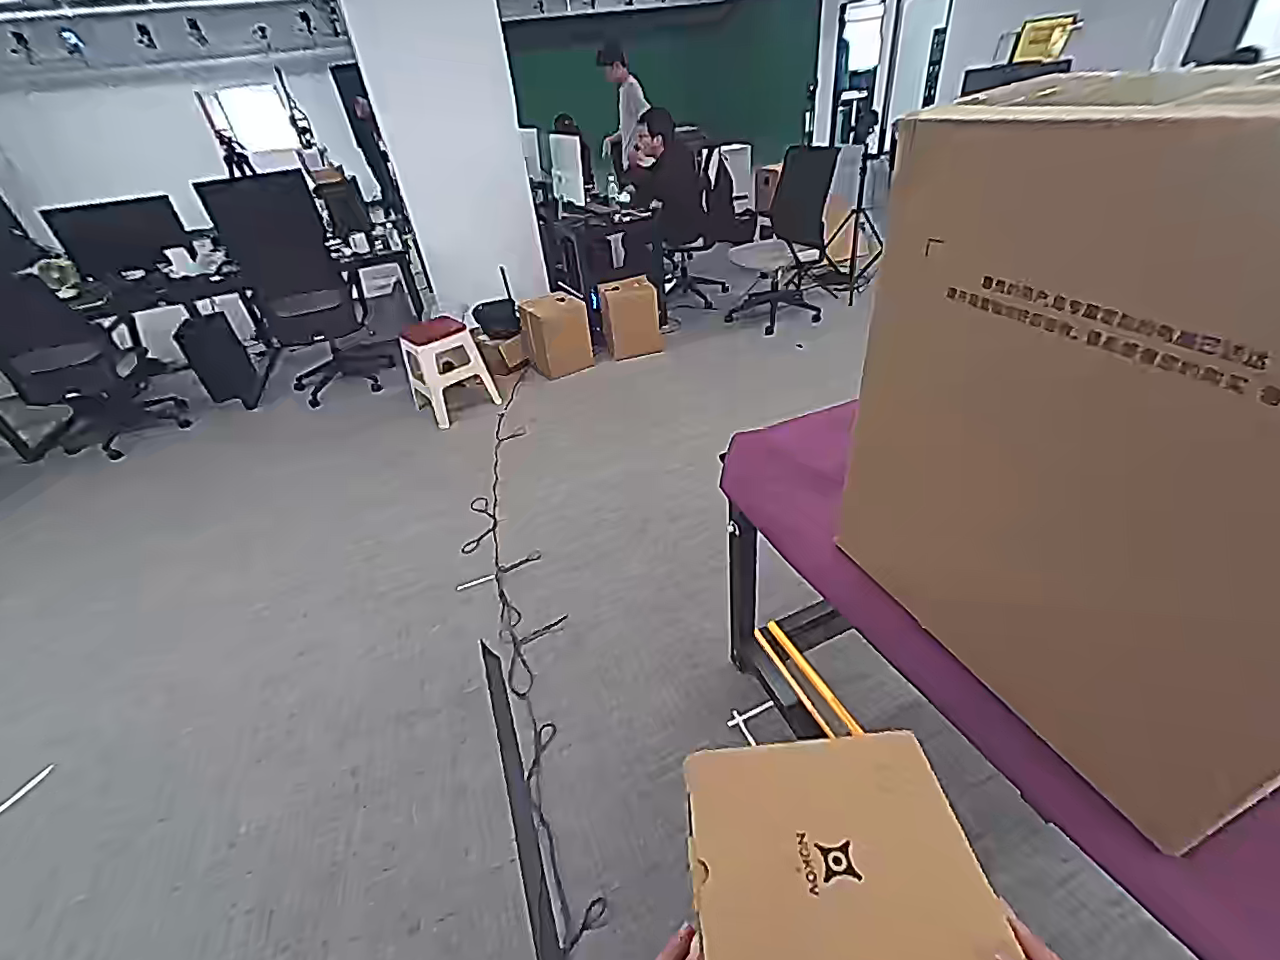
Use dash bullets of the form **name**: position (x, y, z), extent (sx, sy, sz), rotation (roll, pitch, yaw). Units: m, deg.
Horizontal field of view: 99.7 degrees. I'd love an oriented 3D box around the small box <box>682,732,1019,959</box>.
- **small box**: position (0.129, 0.309, 0.380), extent (0.179, 0.176, 0.168), rotation (-8, 29, 5)
